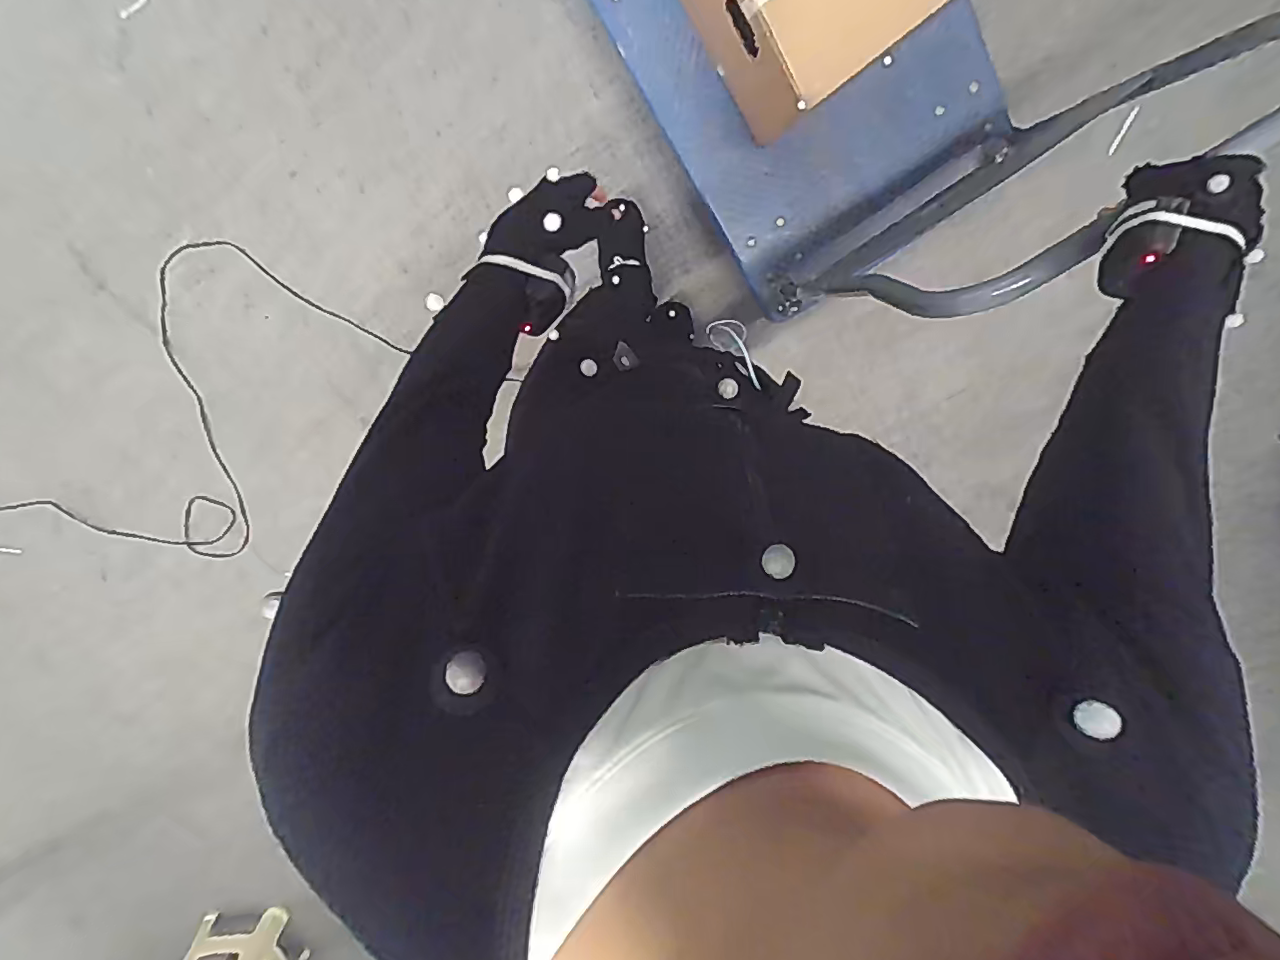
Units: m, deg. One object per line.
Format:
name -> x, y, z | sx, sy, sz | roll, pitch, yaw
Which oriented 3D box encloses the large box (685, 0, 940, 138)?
large box -> 0.313, -0.837, 0.851 | 0.408, 0.320, 0.320 | -33, 109, 13
